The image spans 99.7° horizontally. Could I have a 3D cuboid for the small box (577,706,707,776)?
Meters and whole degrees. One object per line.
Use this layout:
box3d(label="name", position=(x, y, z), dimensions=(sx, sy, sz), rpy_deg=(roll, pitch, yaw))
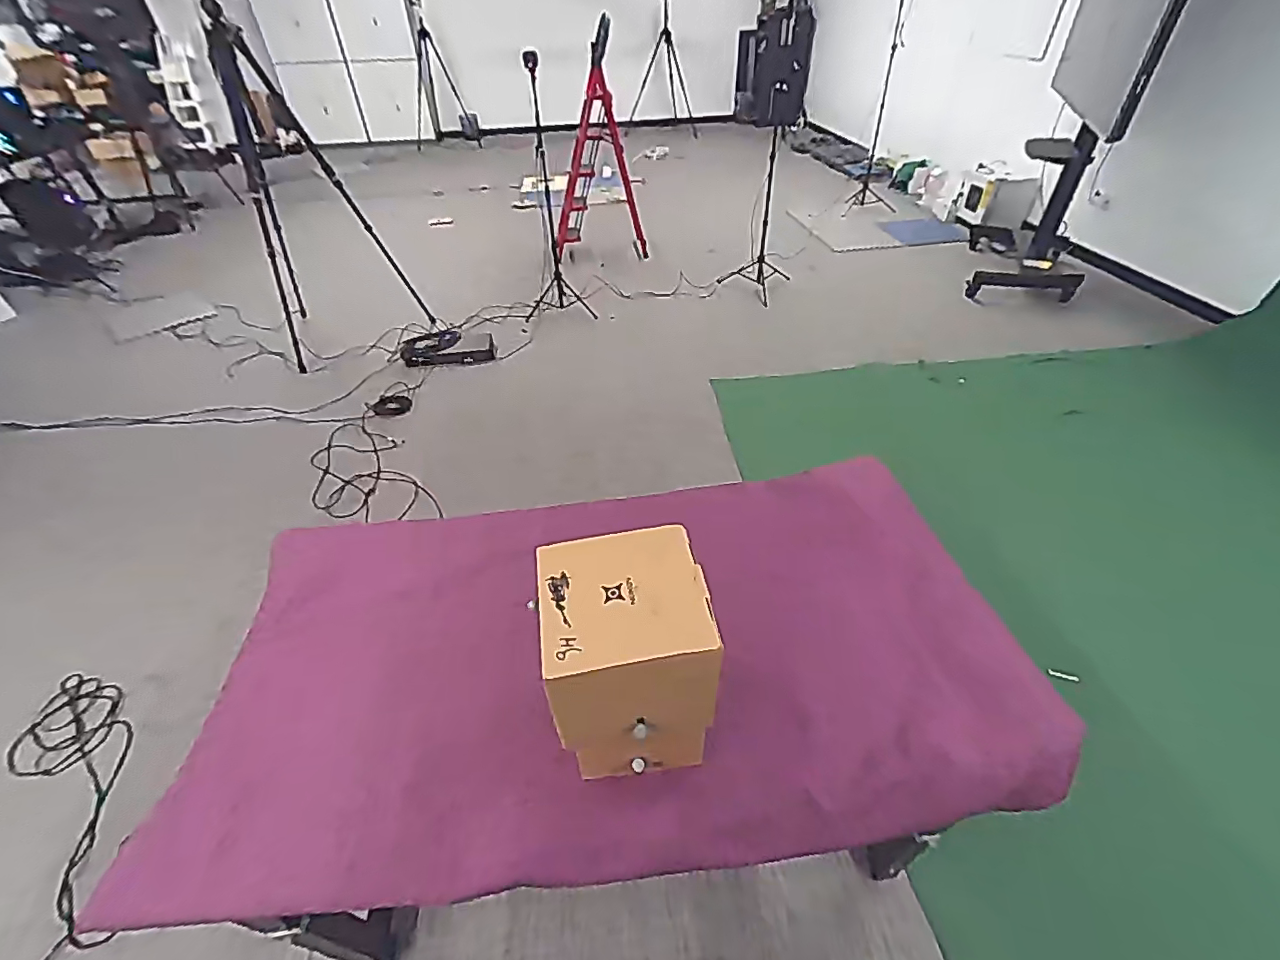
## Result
box3d(label="small box", position=(-0.008, 0.277, 0.743), dimensions=(0.168, 0.176, 0.179), rpy_deg=(-5, 42, -3))

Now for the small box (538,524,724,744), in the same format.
box3d(label="small box", position=(-0.016, 0.174, 0.613), dimensions=(0.179, 0.176, 0.168), rpy_deg=(-7, 42, -6))
